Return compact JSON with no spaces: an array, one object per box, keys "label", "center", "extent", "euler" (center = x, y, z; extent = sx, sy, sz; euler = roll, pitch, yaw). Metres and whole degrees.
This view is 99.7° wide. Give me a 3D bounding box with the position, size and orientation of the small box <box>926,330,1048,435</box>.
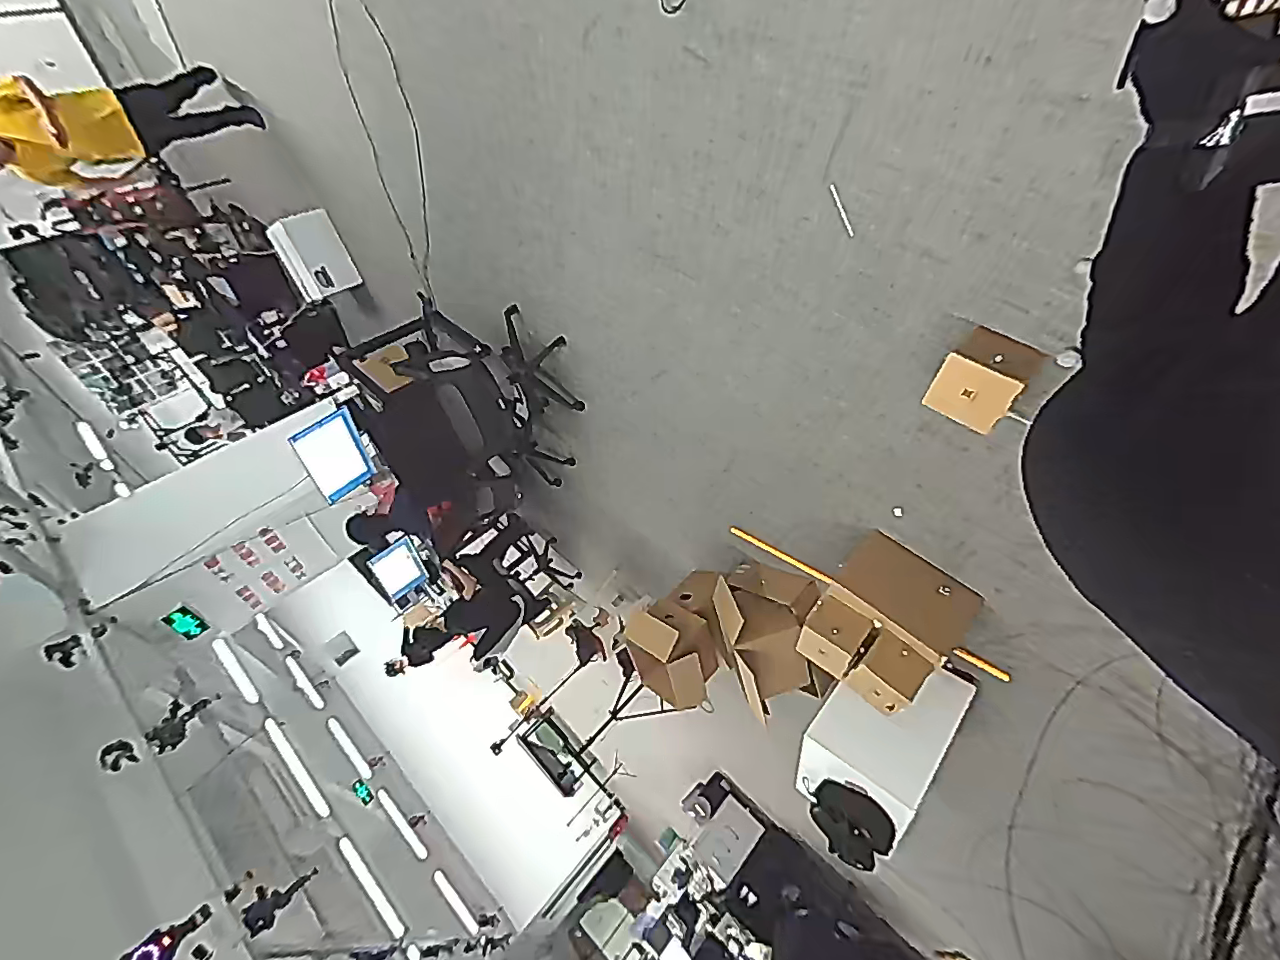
[{"label":"small box","center":[0.863,-0.251,1.351],"extent":[0.179,0.176,0.168],"euler":[35,146,24]}]
